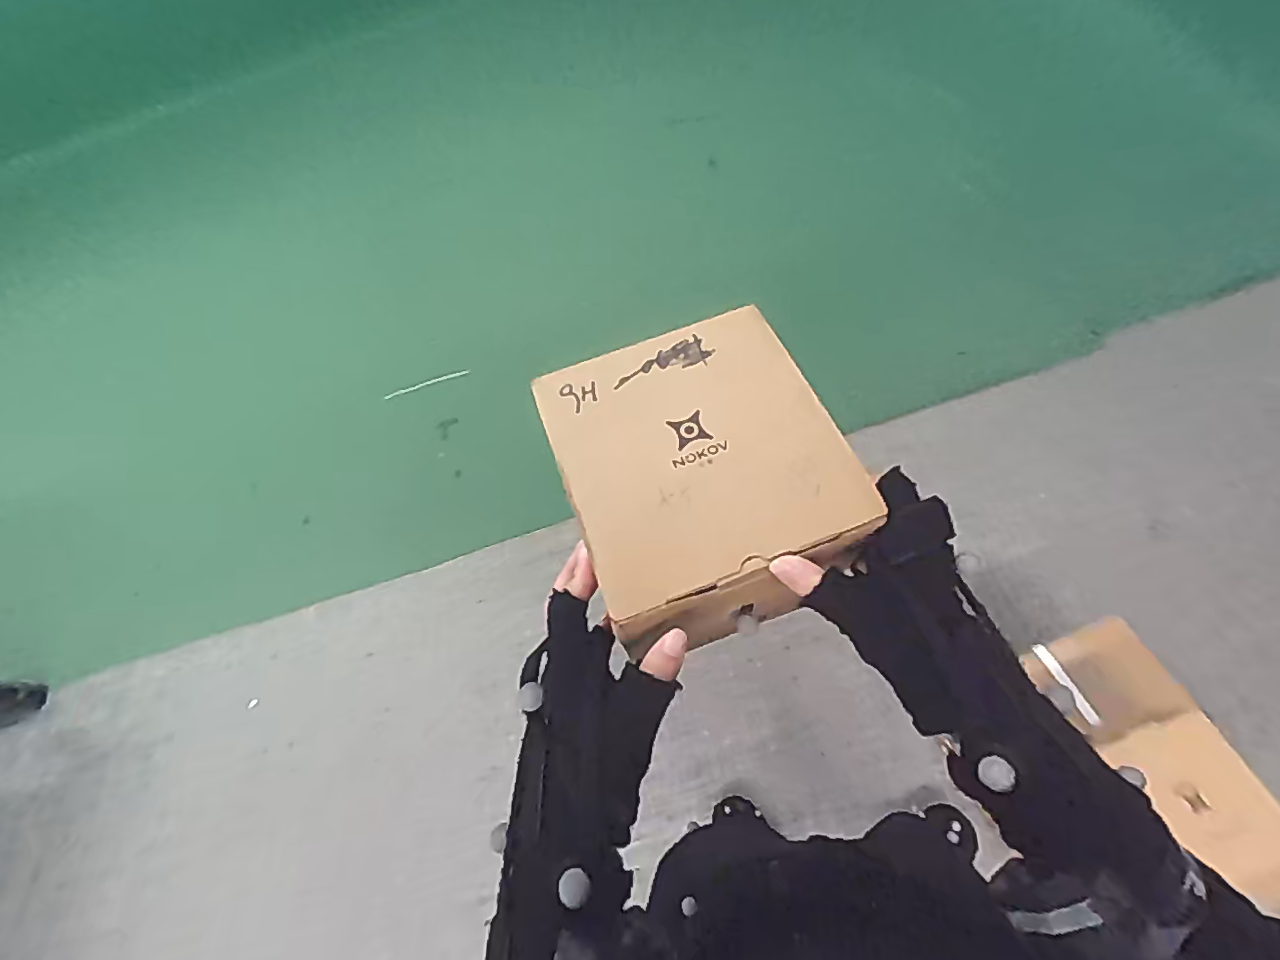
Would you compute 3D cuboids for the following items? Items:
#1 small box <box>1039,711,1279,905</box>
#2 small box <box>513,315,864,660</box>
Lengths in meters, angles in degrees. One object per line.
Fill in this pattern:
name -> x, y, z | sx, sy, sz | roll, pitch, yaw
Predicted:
small box -> 0.719, 0.445, 0.759 | 0.168, 0.176, 0.179 | -23, 64, 1
small box -> 0.028, 0.020, 0.397 | 0.168, 0.176, 0.179 | -20, 64, -5
